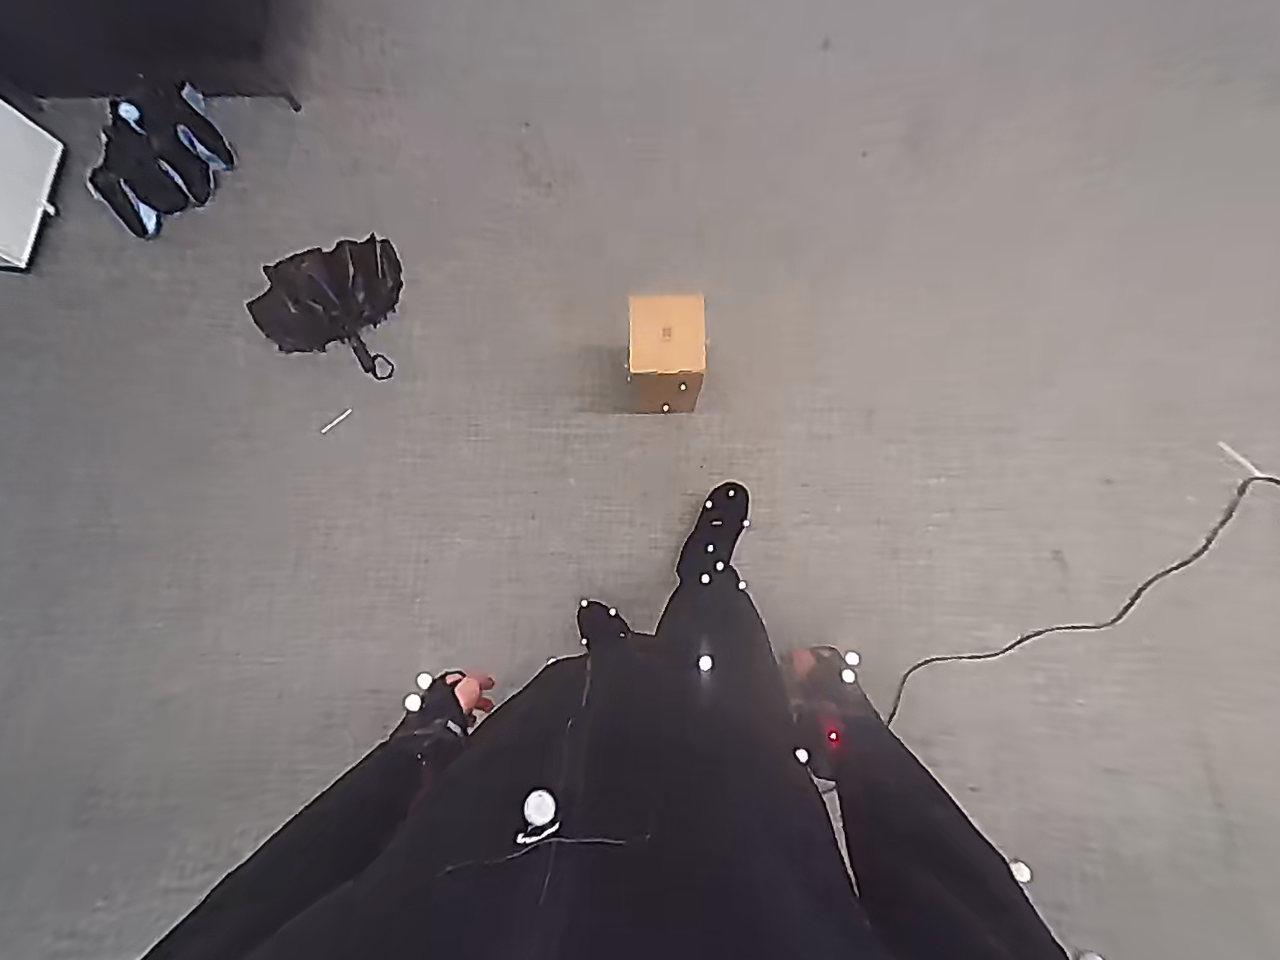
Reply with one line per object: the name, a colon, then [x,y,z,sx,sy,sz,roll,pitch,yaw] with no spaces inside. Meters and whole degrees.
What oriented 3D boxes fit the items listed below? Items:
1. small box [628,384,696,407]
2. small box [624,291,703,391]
small box: [0.056,-0.286,1.378,0.168,0.176,0.179,-2,83,2]
small box: [0.051,-0.303,1.215,0.168,0.176,0.179,-1,82,0]
